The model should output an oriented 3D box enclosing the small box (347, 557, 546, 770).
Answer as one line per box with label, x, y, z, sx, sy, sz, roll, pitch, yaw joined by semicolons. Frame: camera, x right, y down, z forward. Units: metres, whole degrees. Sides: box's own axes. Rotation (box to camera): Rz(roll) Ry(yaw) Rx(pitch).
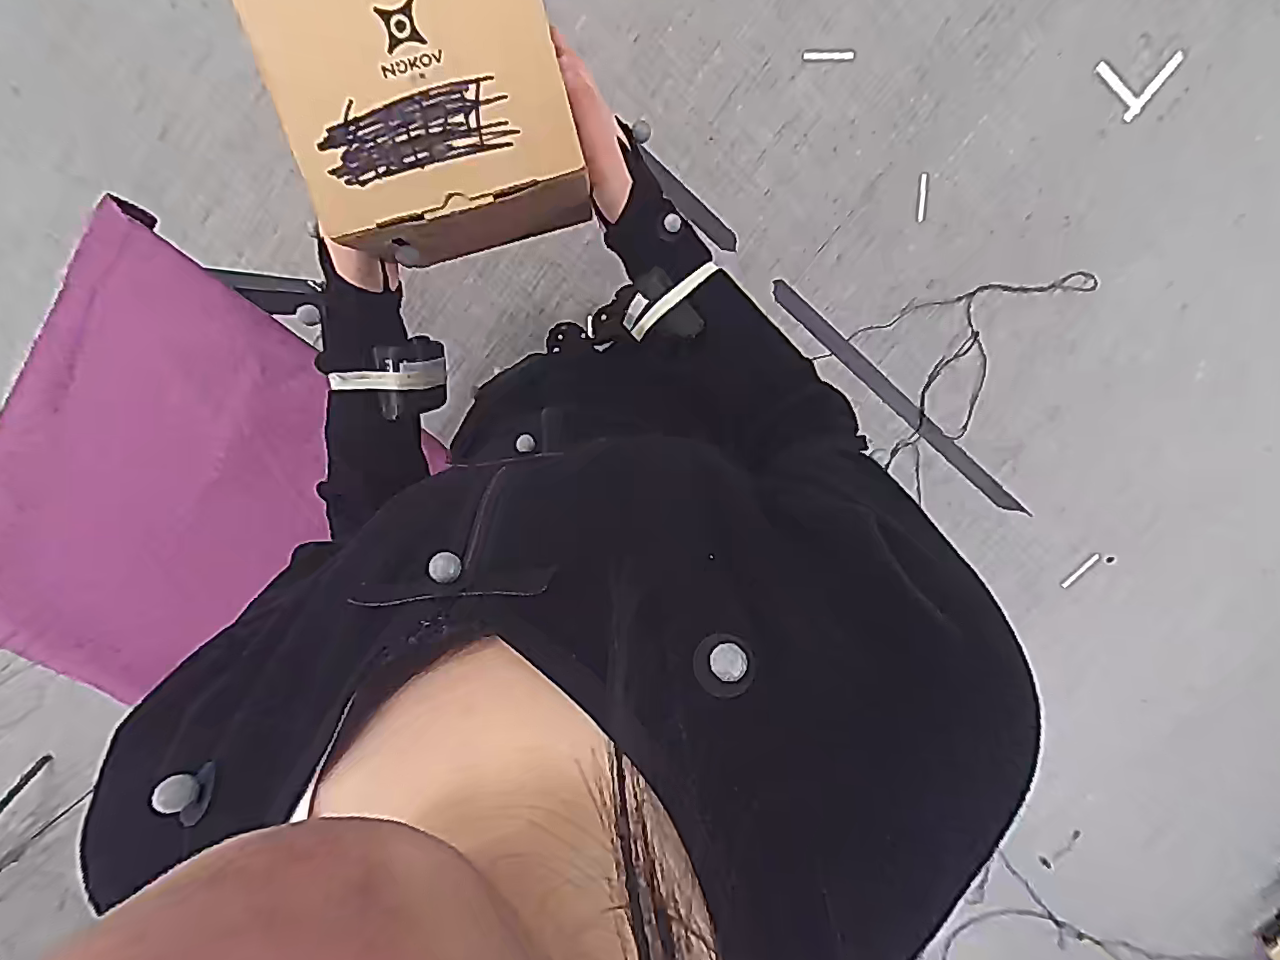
small box;-0.246;0.240;0.737;0.168;0.176;0.179;39;102;-13
